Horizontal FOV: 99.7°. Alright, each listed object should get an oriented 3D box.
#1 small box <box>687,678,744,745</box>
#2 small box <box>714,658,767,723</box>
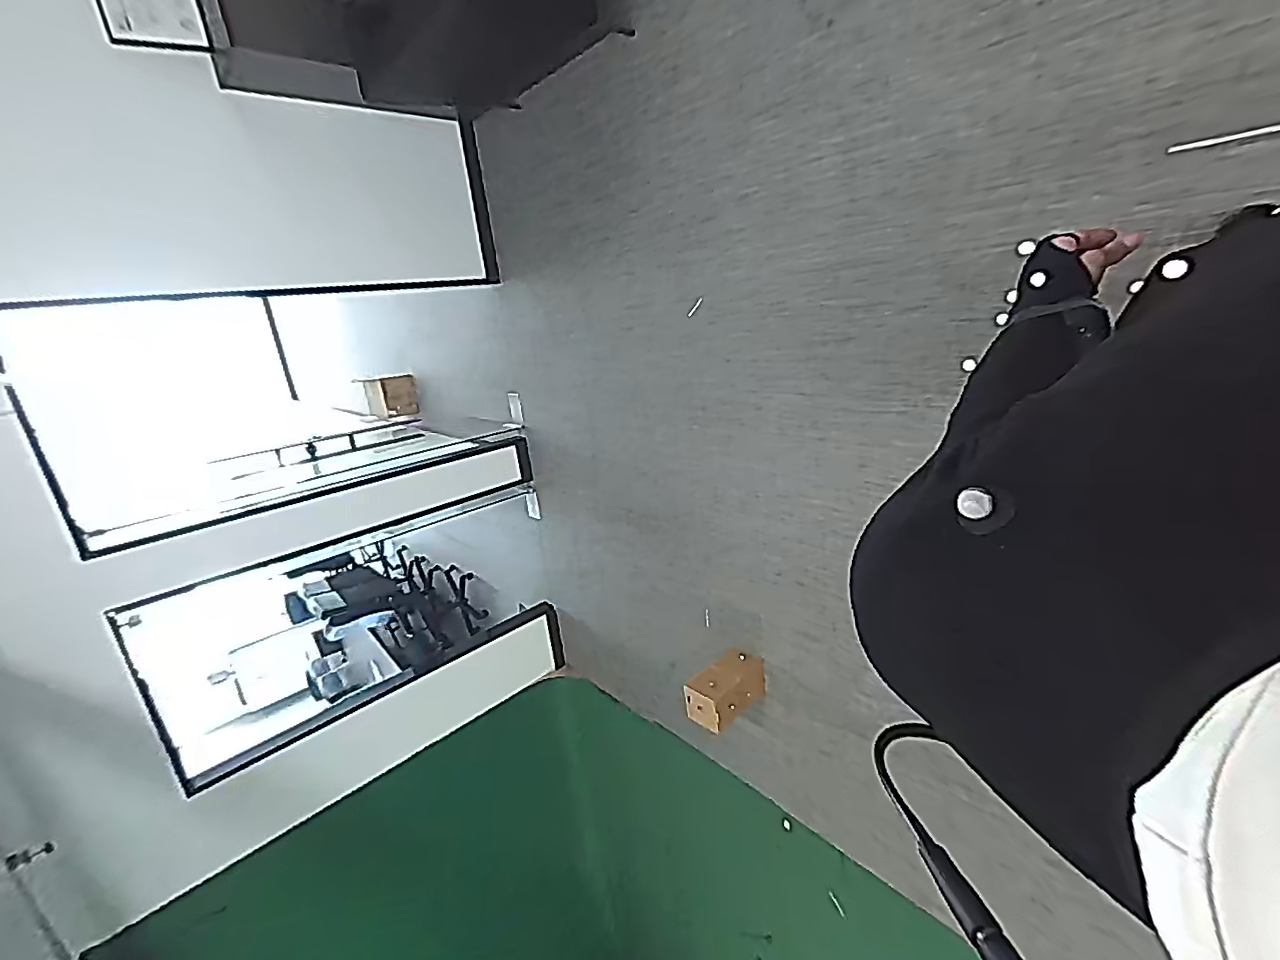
[{"bbox_3d":[0.326,0.967,2.279,0.179,0.176,0.168,8,110,48],"label":"small box"},{"bbox_3d":[0.447,0.922,2.379,0.168,0.176,0.179,12,113,47],"label":"small box"}]
